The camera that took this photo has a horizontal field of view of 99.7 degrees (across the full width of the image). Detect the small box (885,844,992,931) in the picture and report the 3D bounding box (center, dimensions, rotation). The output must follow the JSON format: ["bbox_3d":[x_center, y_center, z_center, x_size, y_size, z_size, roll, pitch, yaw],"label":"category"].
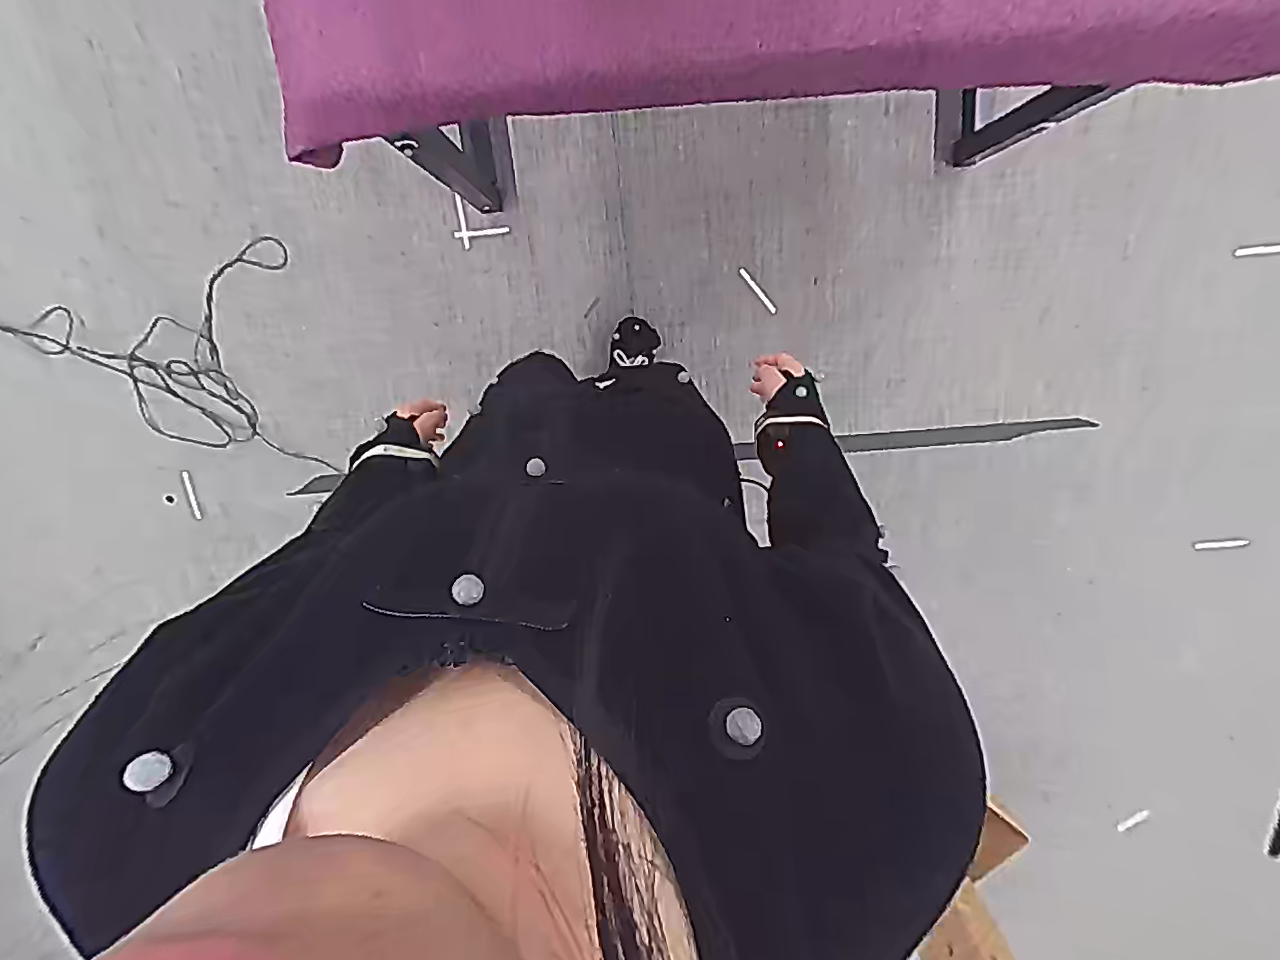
[{"bbox_3d":[0.851,1.199,1.561,0.179,0.176,0.168,35,104,-11],"label":"small box"}]

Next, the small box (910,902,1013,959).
[{"bbox_3d":[0.848,1.248,1.403,0.179,0.176,0.168,35,104,-10],"label":"small box"}]
